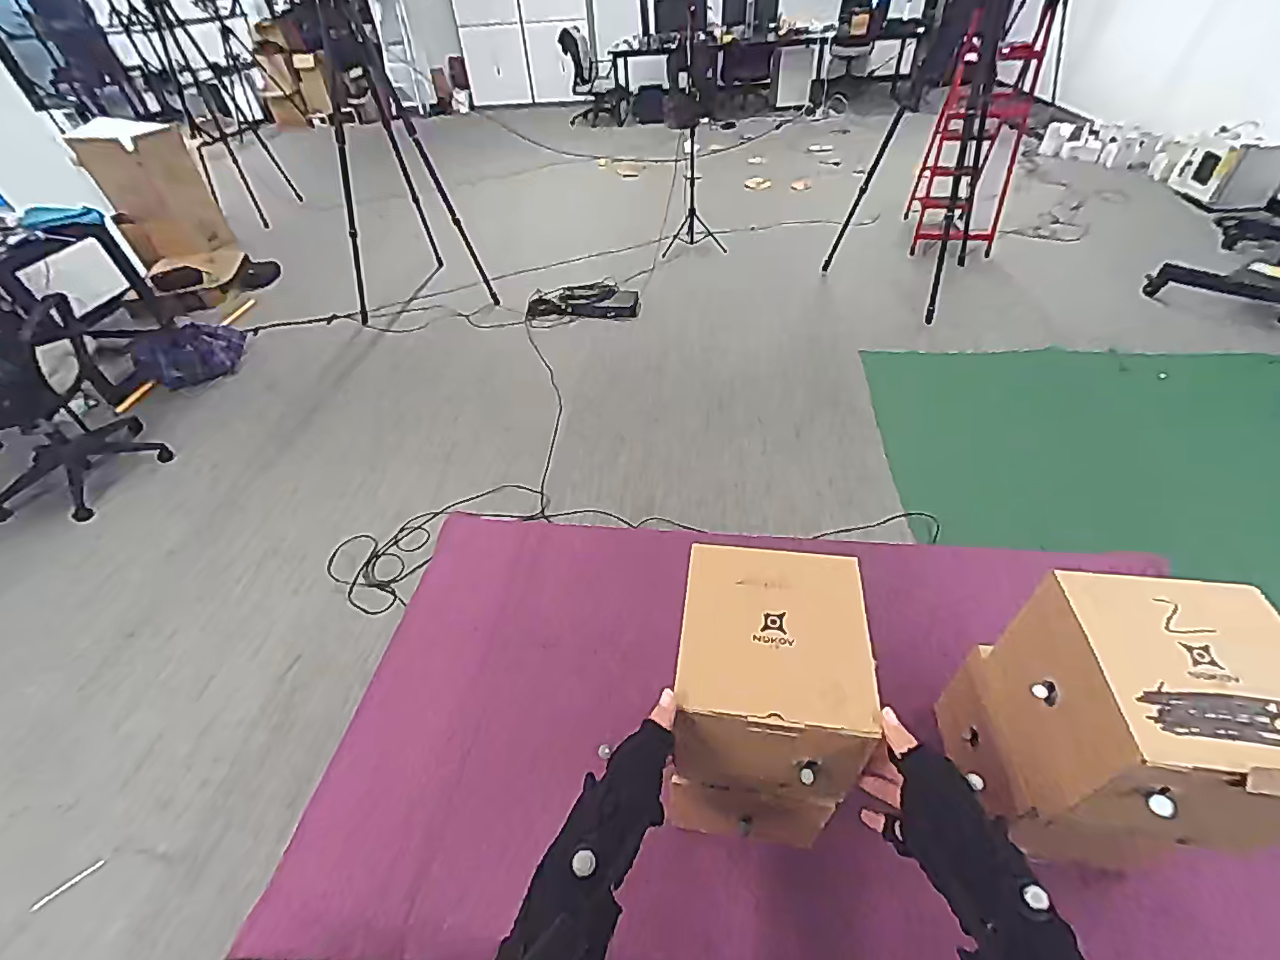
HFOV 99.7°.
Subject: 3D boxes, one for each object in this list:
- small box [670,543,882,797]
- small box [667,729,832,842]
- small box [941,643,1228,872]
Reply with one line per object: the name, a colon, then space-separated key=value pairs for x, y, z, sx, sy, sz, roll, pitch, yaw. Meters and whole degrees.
small box: x=0.125 y=0.188 z=0.535 sx=0.168 sy=0.176 sz=0.179 roll=5 pitch=45 yaw=9
small box: x=0.127 y=0.307 z=0.647 sx=0.168 sy=0.176 sz=0.179 roll=5 pitch=45 yaw=9
small box: x=0.467 y=0.313 z=0.609 sx=0.168 sy=0.176 sz=0.179 roll=7 pitch=46 yaw=9
